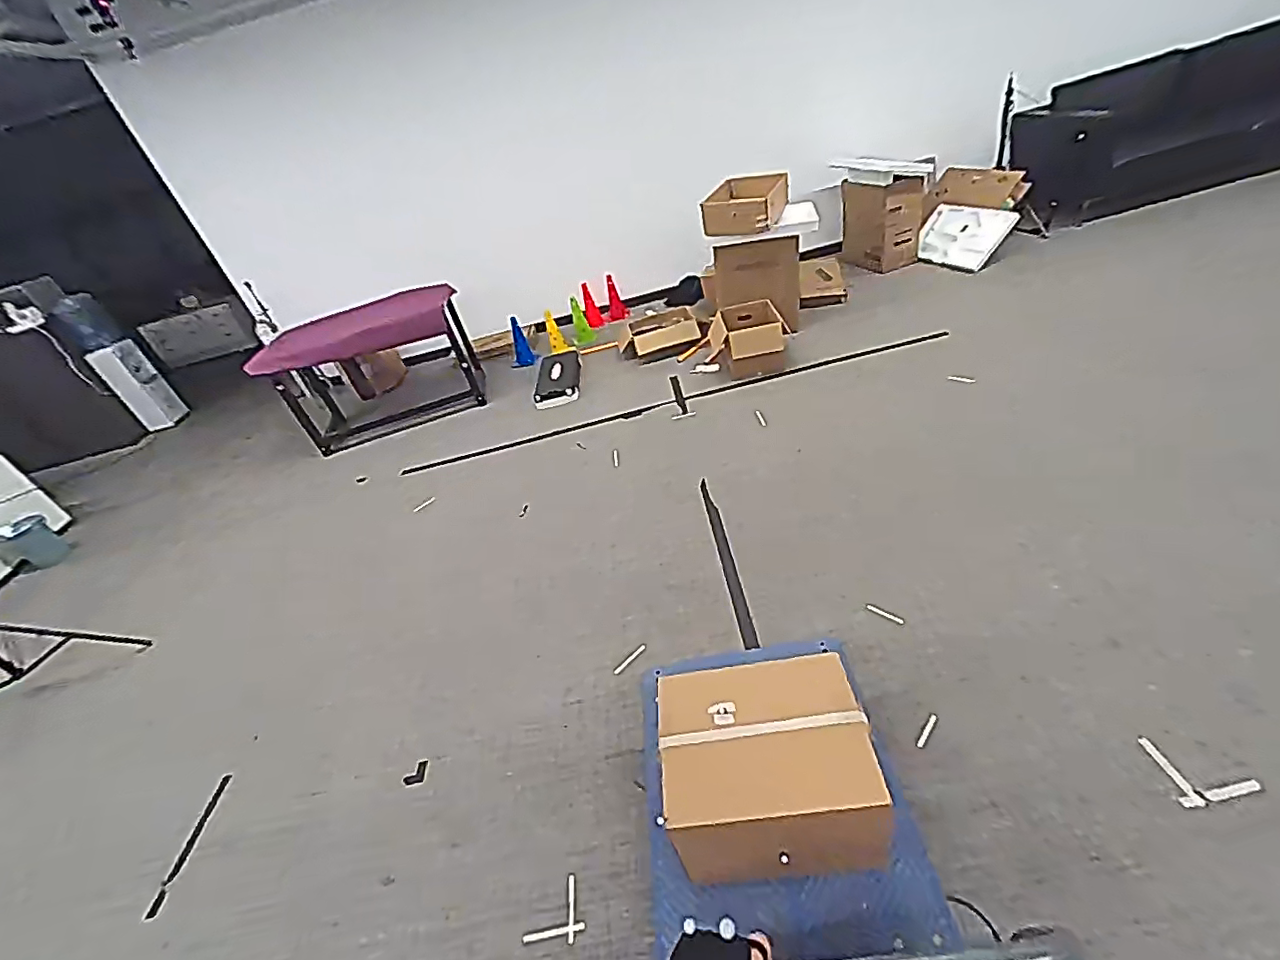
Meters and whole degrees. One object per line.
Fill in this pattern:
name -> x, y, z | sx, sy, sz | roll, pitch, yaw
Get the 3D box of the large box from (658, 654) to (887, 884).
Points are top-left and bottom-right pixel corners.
large box -> 0.275, 0.629, 1.174 | 0.408, 0.320, 0.320 | -12, 34, 8
